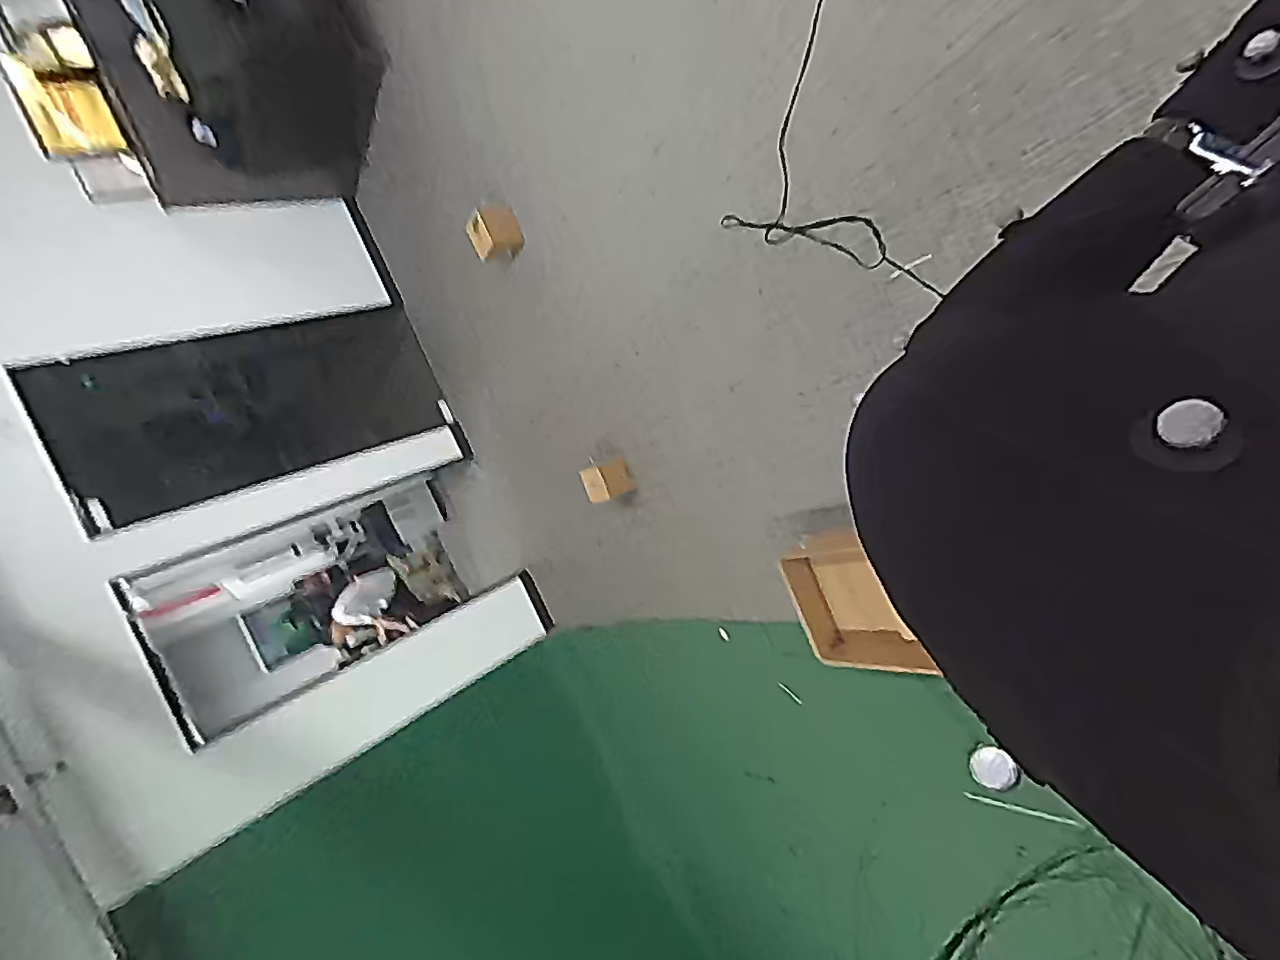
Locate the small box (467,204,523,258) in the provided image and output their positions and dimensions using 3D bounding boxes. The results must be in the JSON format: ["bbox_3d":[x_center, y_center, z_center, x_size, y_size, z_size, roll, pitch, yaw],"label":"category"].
[{"bbox_3d":[-0.683,-1.176,2.546,0.168,0.176,0.179,-19,96,54],"label":"small box"}]

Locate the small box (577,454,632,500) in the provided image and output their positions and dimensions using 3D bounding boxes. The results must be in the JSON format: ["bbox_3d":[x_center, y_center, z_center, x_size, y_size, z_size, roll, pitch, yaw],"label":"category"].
[{"bbox_3d":[-0.166,-0.016,2.588,0.179,0.176,0.168,-11,102,53],"label":"small box"}]
